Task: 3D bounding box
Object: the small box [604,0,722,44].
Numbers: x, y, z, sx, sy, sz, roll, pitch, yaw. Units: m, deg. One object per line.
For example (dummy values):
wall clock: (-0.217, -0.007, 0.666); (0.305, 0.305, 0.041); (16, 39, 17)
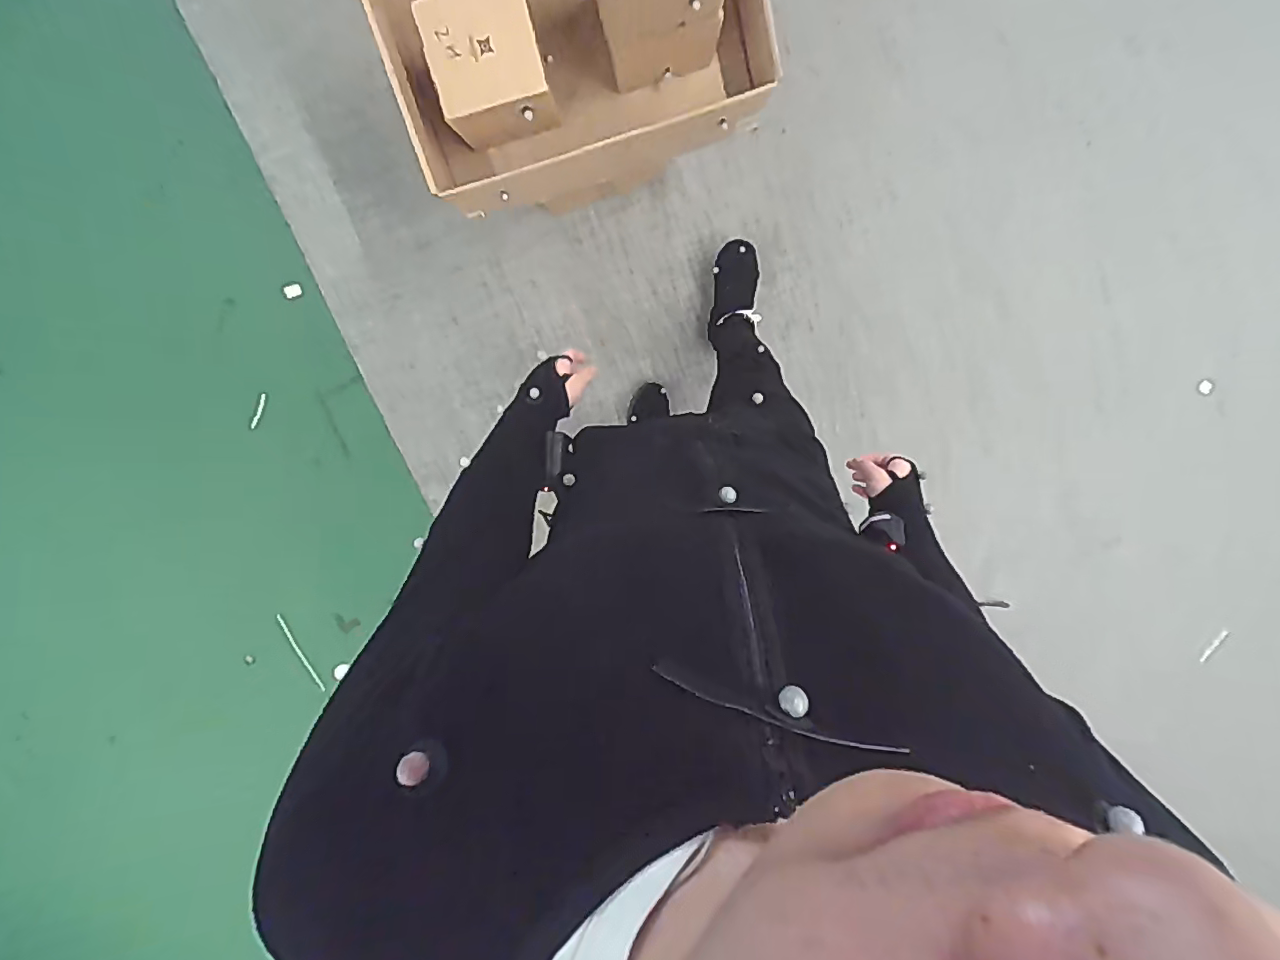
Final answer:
small box: (0.022, -0.734, 0.729); (0.168, 0.176, 0.179); (-15, 106, 4)
